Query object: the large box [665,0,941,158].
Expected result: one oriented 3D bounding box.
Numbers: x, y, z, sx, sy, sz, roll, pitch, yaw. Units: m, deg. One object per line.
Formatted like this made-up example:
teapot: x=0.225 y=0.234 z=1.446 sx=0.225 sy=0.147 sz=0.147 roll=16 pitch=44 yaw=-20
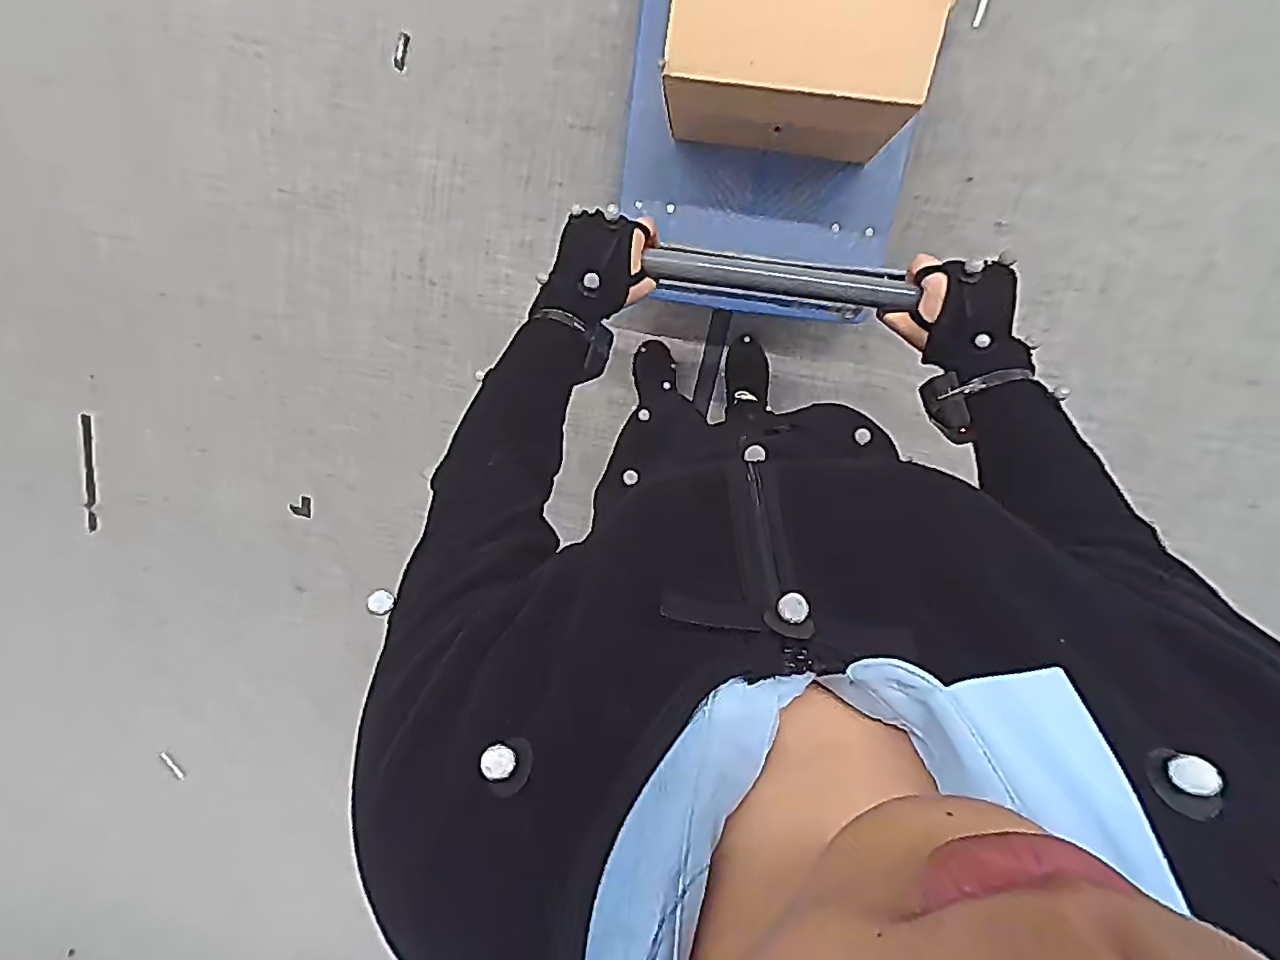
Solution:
large box: x=0.274 y=-0.793 z=0.952 sx=0.408 sy=0.320 sz=0.320 roll=10 pitch=106 yaw=5
